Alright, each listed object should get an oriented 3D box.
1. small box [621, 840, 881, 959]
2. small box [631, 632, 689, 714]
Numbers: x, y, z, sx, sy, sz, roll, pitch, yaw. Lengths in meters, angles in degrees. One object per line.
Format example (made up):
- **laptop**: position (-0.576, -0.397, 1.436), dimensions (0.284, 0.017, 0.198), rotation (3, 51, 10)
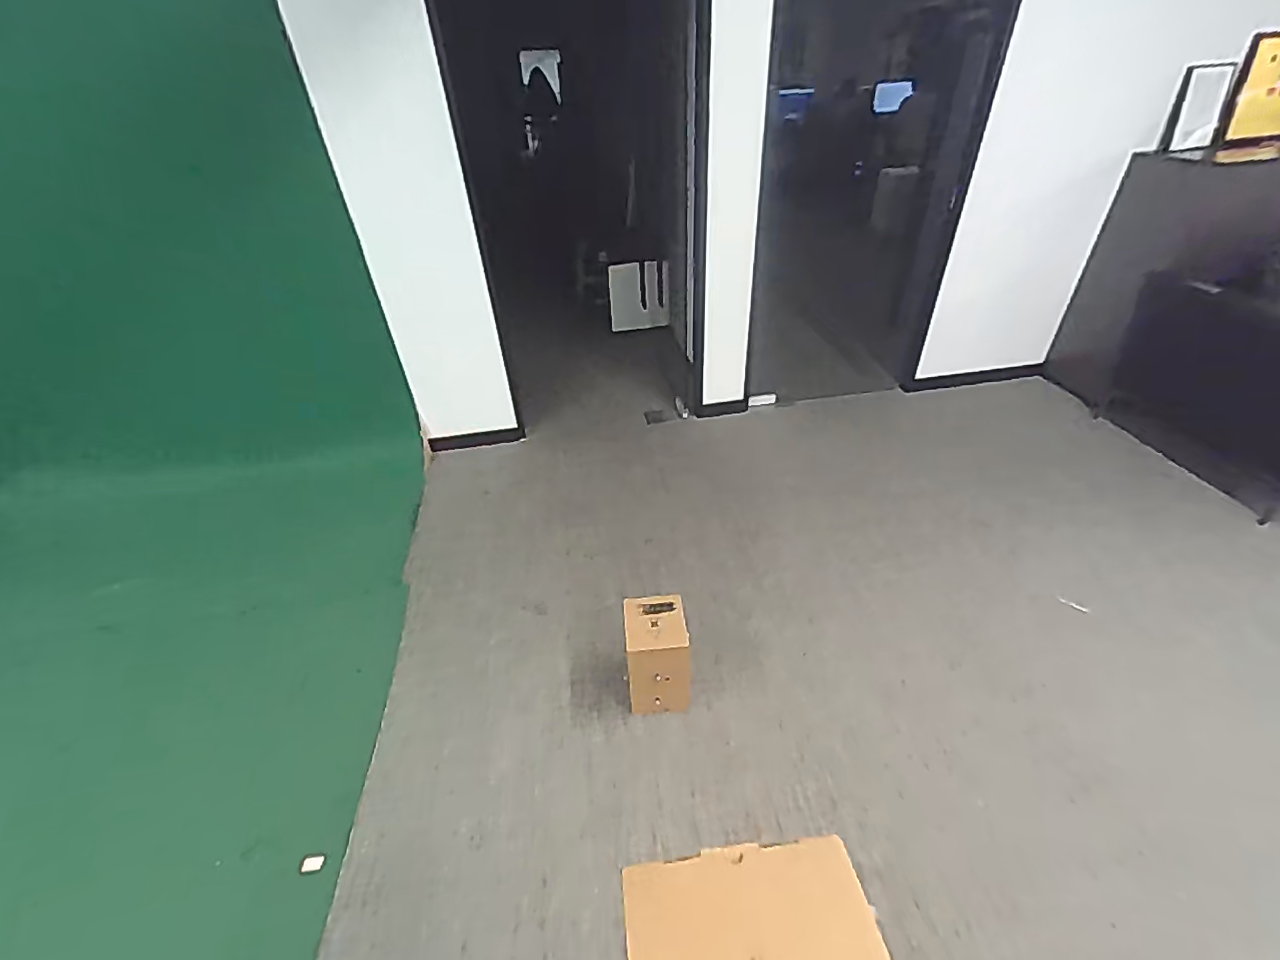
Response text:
- **small box**: position (0.080, 0.389, 0.363), dimensions (0.168, 0.176, 0.179), rotation (-6, 26, -3)
- **small box**: position (0.059, 0.582, 1.617), dimensions (0.168, 0.176, 0.179), rotation (-3, 38, 1)
